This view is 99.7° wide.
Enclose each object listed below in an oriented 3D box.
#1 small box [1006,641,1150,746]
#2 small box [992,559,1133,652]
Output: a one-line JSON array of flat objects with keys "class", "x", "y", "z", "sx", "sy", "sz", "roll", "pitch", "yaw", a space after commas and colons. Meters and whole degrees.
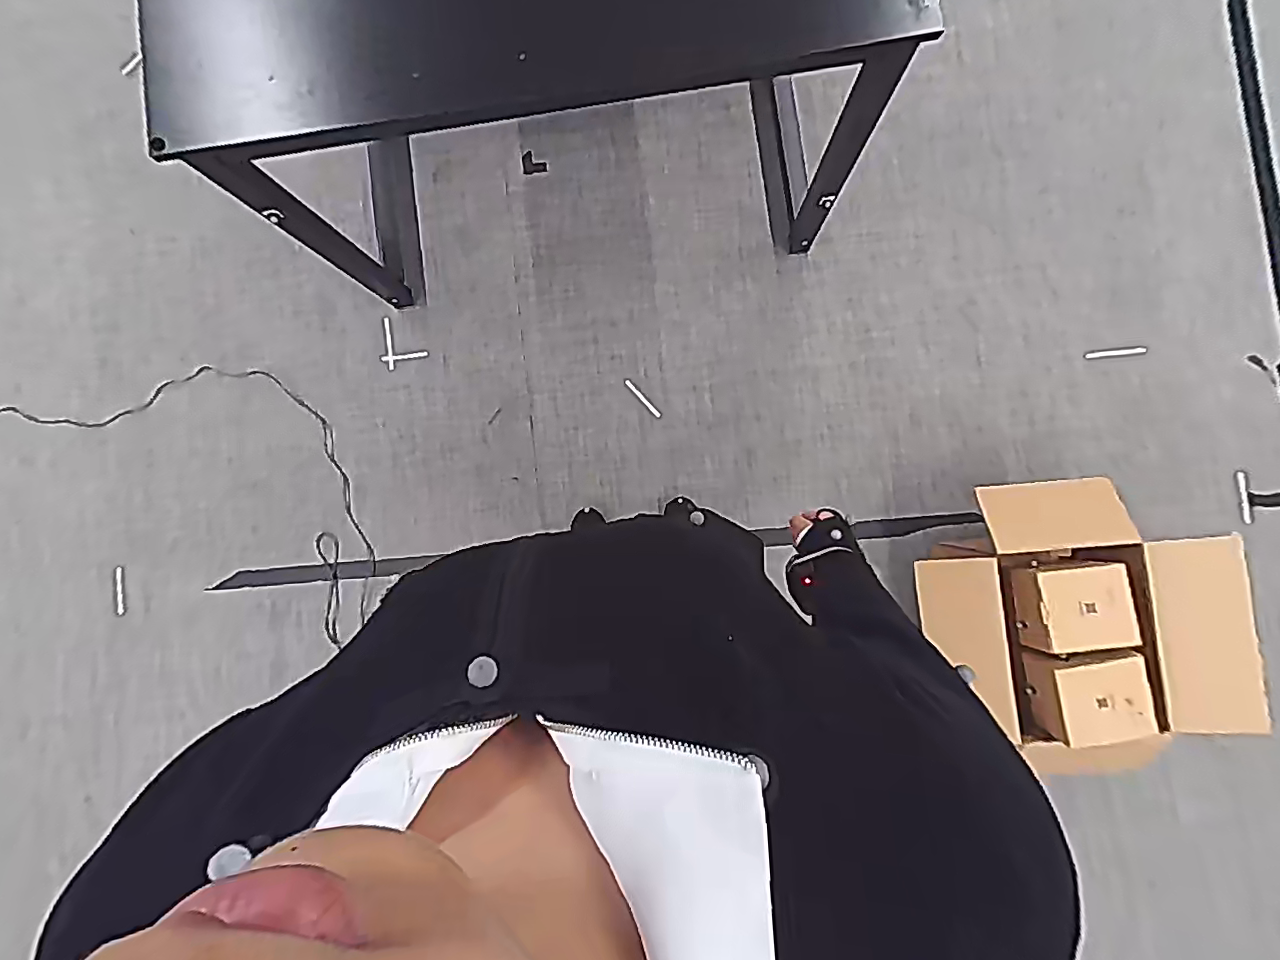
[{"class": "small box", "x": 0.932, "y": 0.445, "z": 1.173, "sx": 0.179, "sy": 0.176, "sz": 0.168, "roll": -12, "pitch": 91, "yaw": 3}, {"class": "small box", "x": 0.905, "y": 0.267, "z": 1.182, "sx": 0.179, "sy": 0.176, "sz": 0.168, "roll": -8, "pitch": 85, "yaw": 1}]
